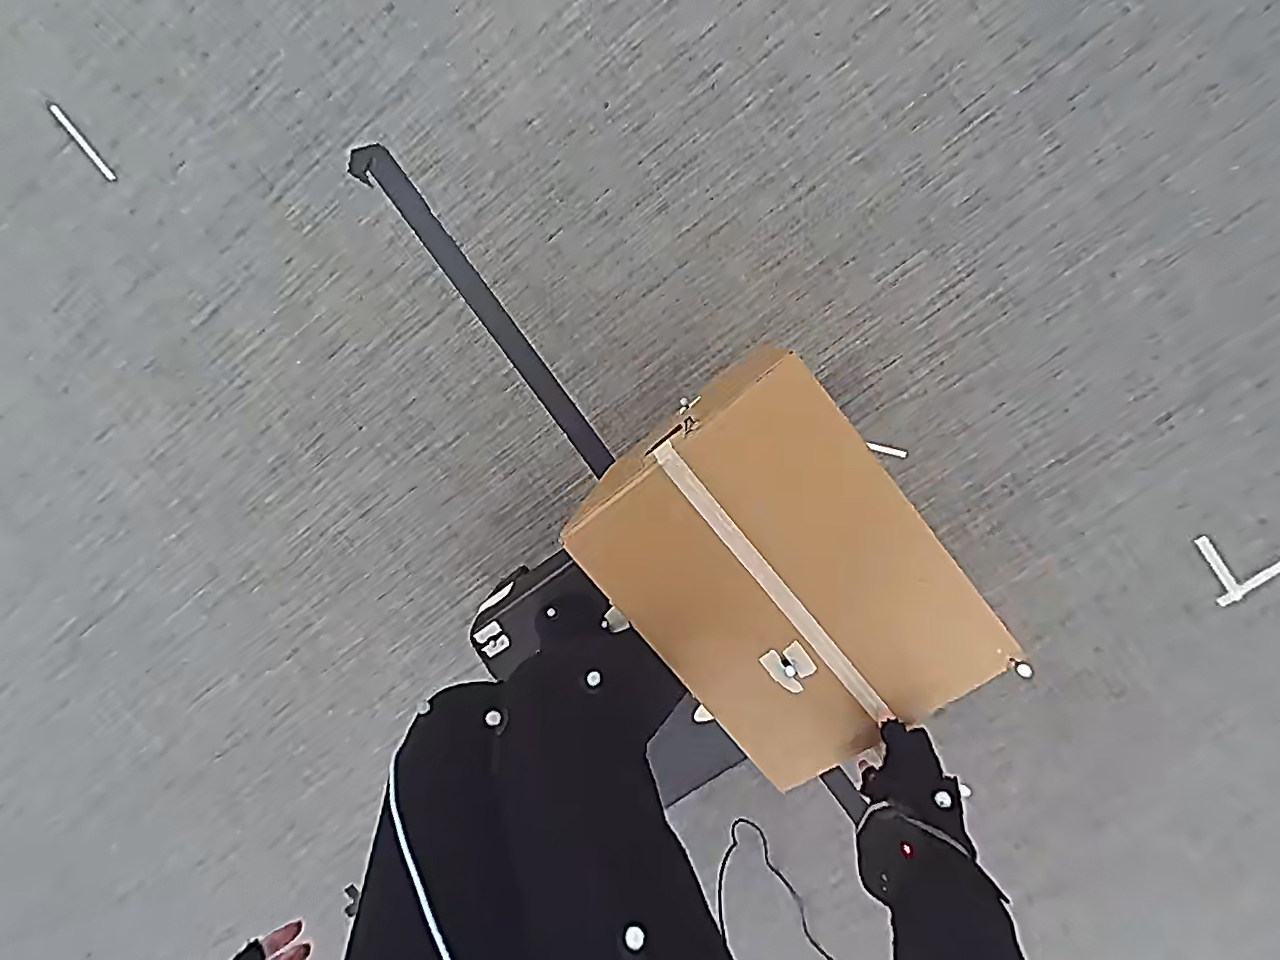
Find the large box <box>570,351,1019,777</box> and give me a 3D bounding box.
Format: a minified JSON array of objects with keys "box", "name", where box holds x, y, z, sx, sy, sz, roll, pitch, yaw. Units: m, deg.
[{"box":[0.176,0.081,0.727,0.320,0.320,0.408,-38,98,16],"name":"large box"}]
